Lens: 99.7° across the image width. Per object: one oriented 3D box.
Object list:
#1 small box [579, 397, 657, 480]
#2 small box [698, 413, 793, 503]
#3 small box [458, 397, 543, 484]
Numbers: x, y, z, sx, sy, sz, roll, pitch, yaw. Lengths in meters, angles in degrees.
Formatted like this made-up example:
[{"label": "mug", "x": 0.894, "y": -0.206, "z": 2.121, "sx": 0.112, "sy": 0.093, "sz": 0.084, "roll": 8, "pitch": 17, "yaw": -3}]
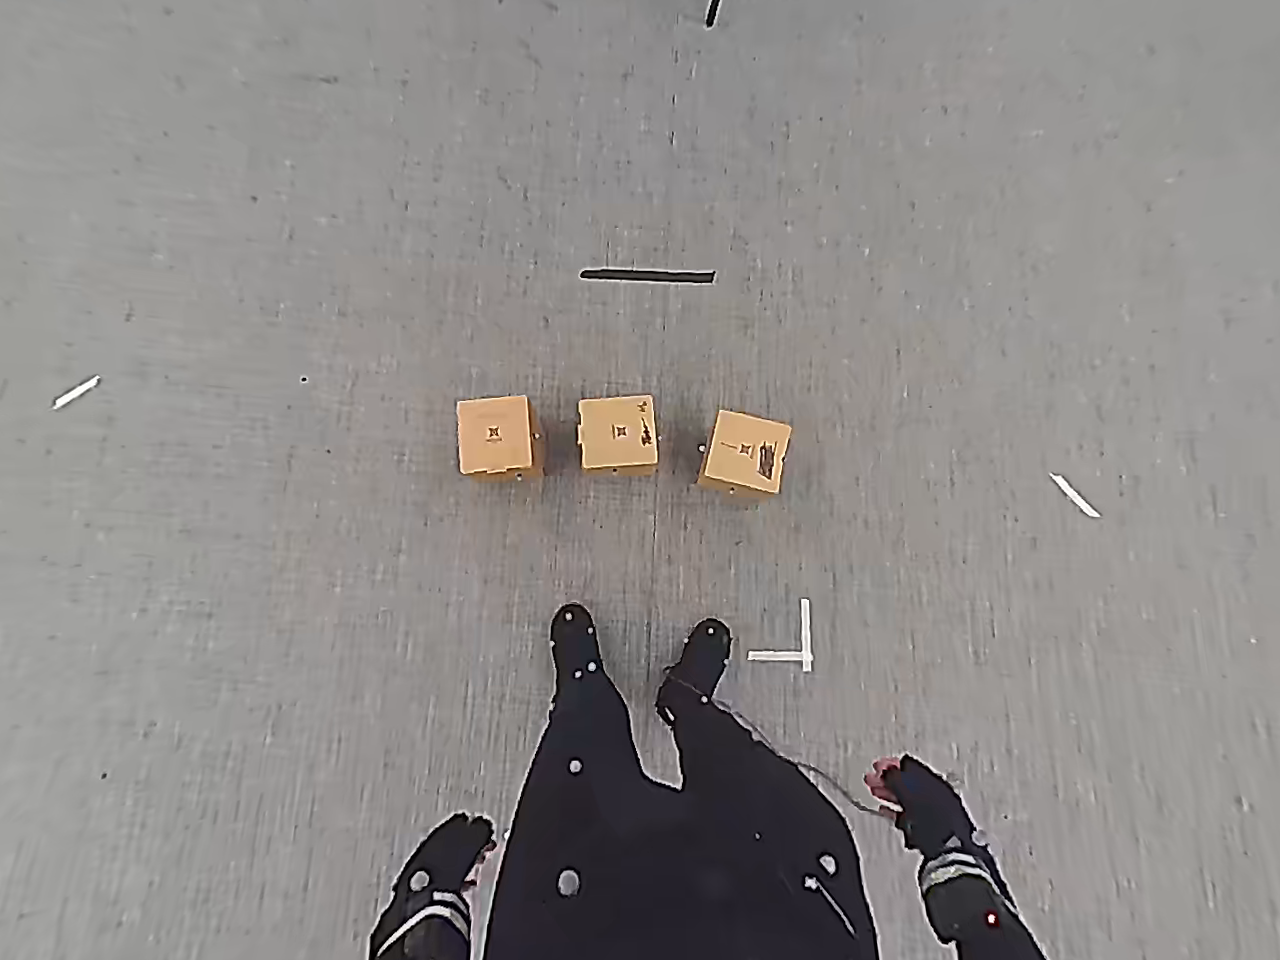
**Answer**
[{"label": "small box", "x": -0.050, "y": -0.095, "z": 1.324, "sx": 0.179, "sy": 0.176, "sz": 0.168, "roll": -4, "pitch": 82, "yaw": 0}, {"label": "small box", "x": 0.250, "y": -0.046, "z": 1.319, "sx": 0.179, "sy": 0.176, "sz": 0.168, "roll": 14, "pitch": 81, "yaw": 3}, {"label": "small box", "x": -0.334, "y": -0.089, "z": 1.323, "sx": 0.168, "sy": 0.176, "sz": 0.179, "roll": -6, "pitch": 80, "yaw": -2}]
